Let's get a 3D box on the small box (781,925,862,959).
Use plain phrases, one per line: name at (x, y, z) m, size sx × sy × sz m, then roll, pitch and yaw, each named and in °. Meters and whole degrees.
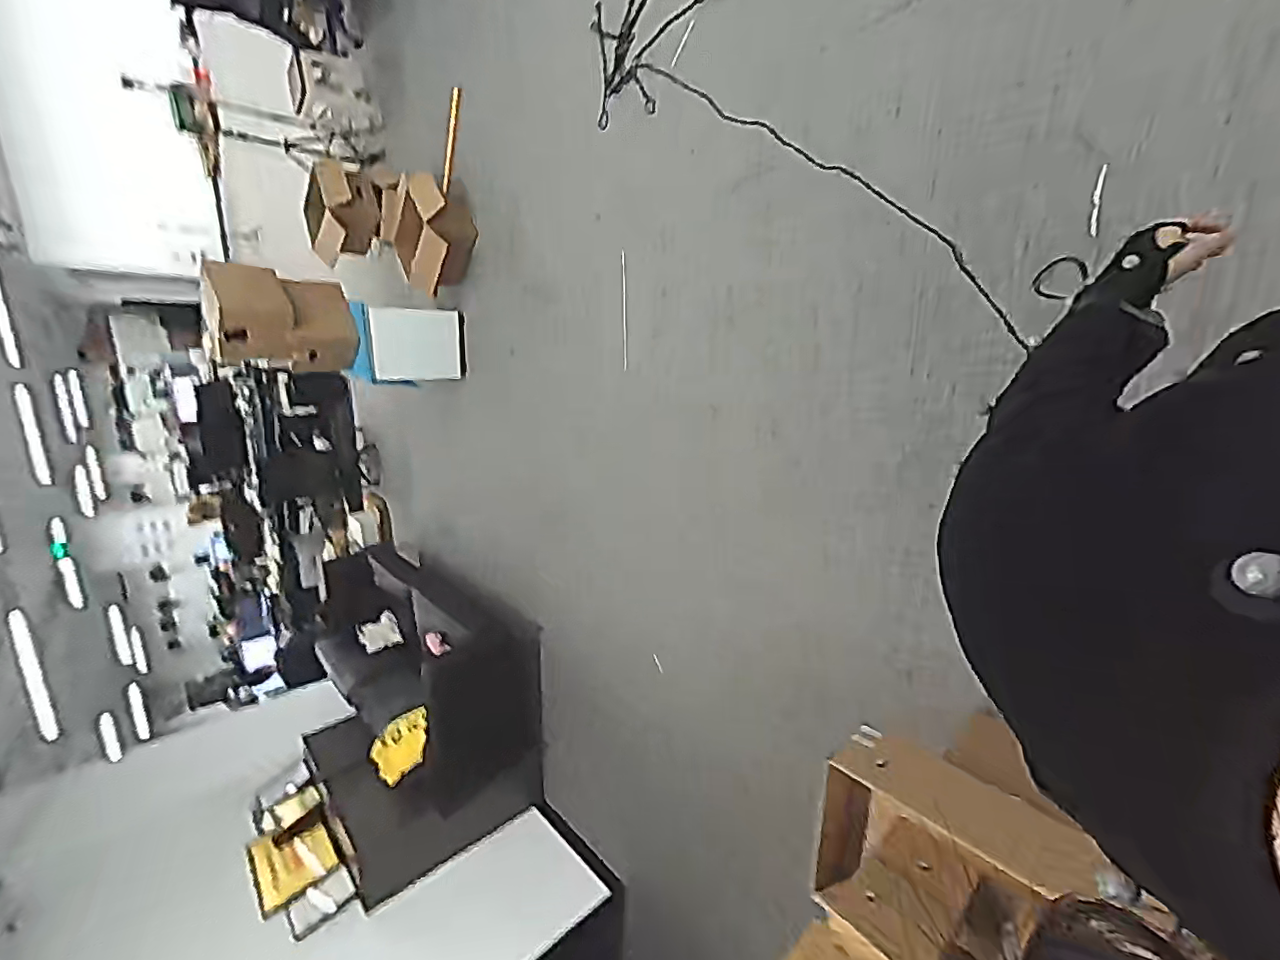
small box at (0.325, 0.943, 0.932) m, size 0.168 × 0.176 × 0.179 m, roll 8°, pitch 104°, yaw 47°
